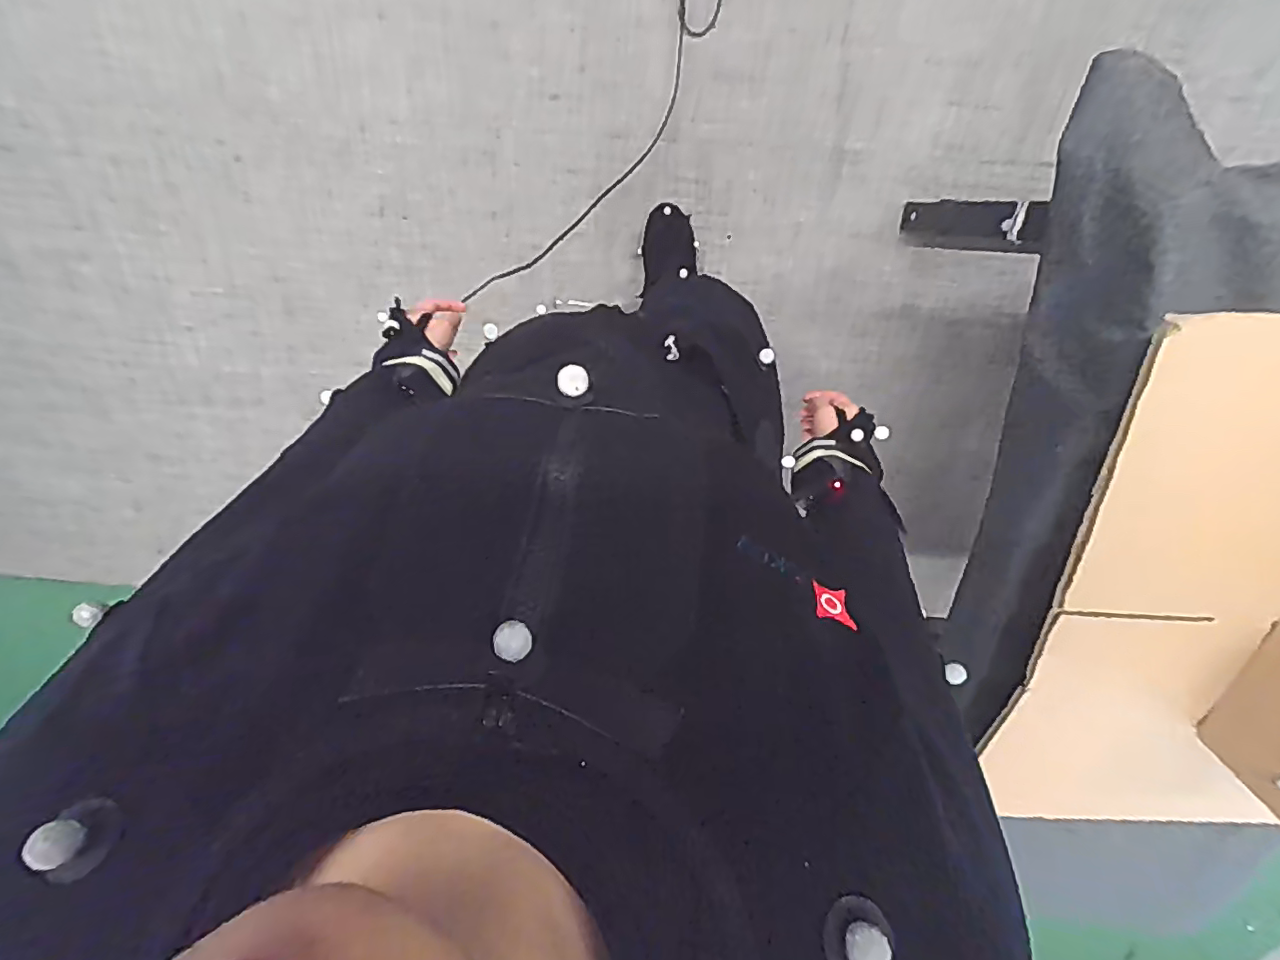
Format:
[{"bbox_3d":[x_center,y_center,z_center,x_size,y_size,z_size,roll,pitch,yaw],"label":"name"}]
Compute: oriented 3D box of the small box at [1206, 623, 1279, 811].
[{"bbox_3d":[0.722,0.255,0.516,0.168,0.176,0.179,0,117,0],"label":"small box"}]
